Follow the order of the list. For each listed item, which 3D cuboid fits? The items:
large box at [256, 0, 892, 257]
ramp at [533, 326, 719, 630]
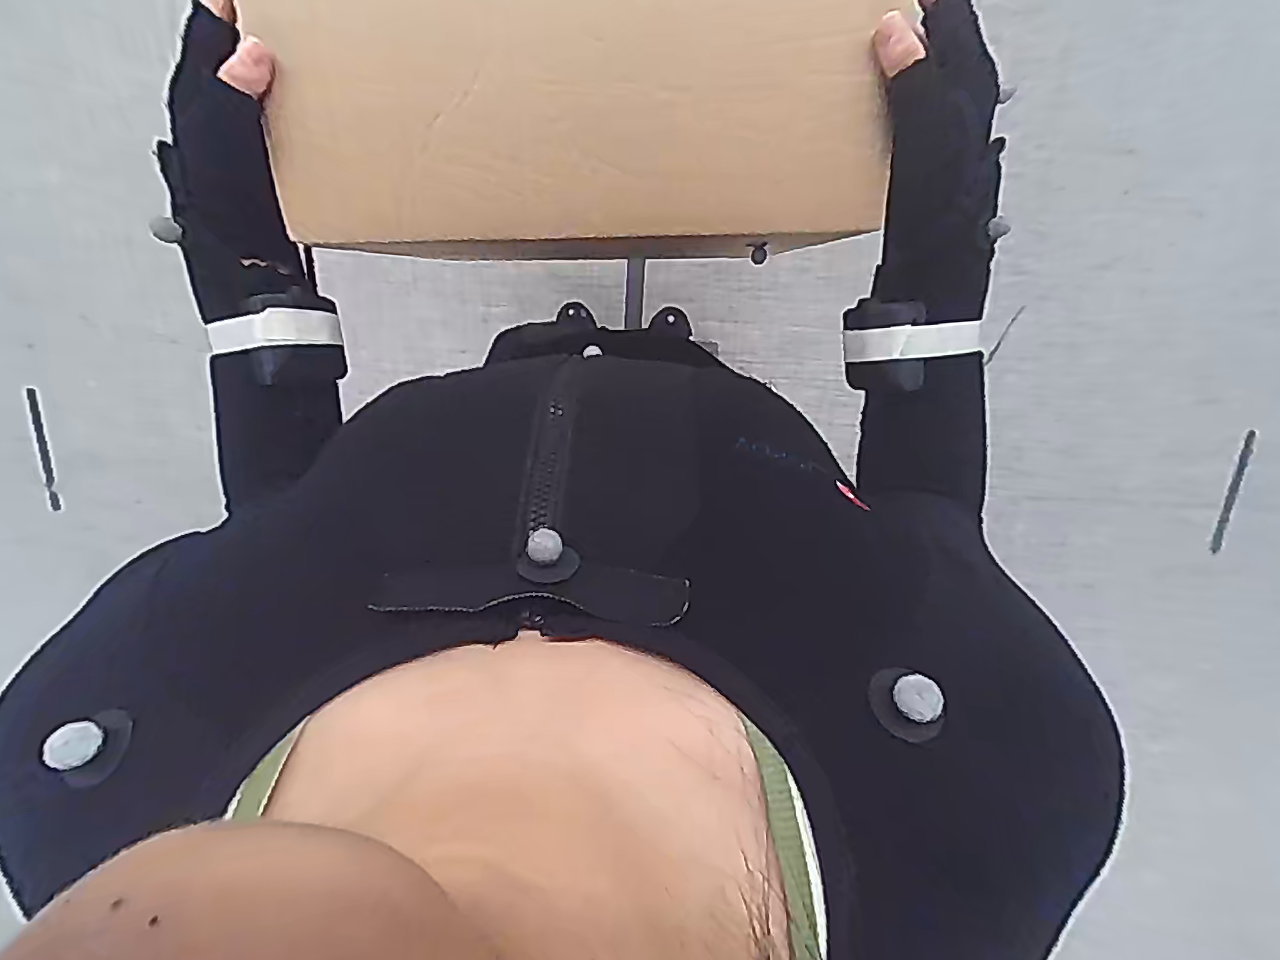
[{"bbox_3d":[-0.039,-0.368,0.469,0.408,0.320,0.320,-1,110,1],"label":"large box"},{"bbox_3d":[-0.051,0.055,1.624,0.509,0.206,0.991,1,106,0],"label":"ramp"}]
